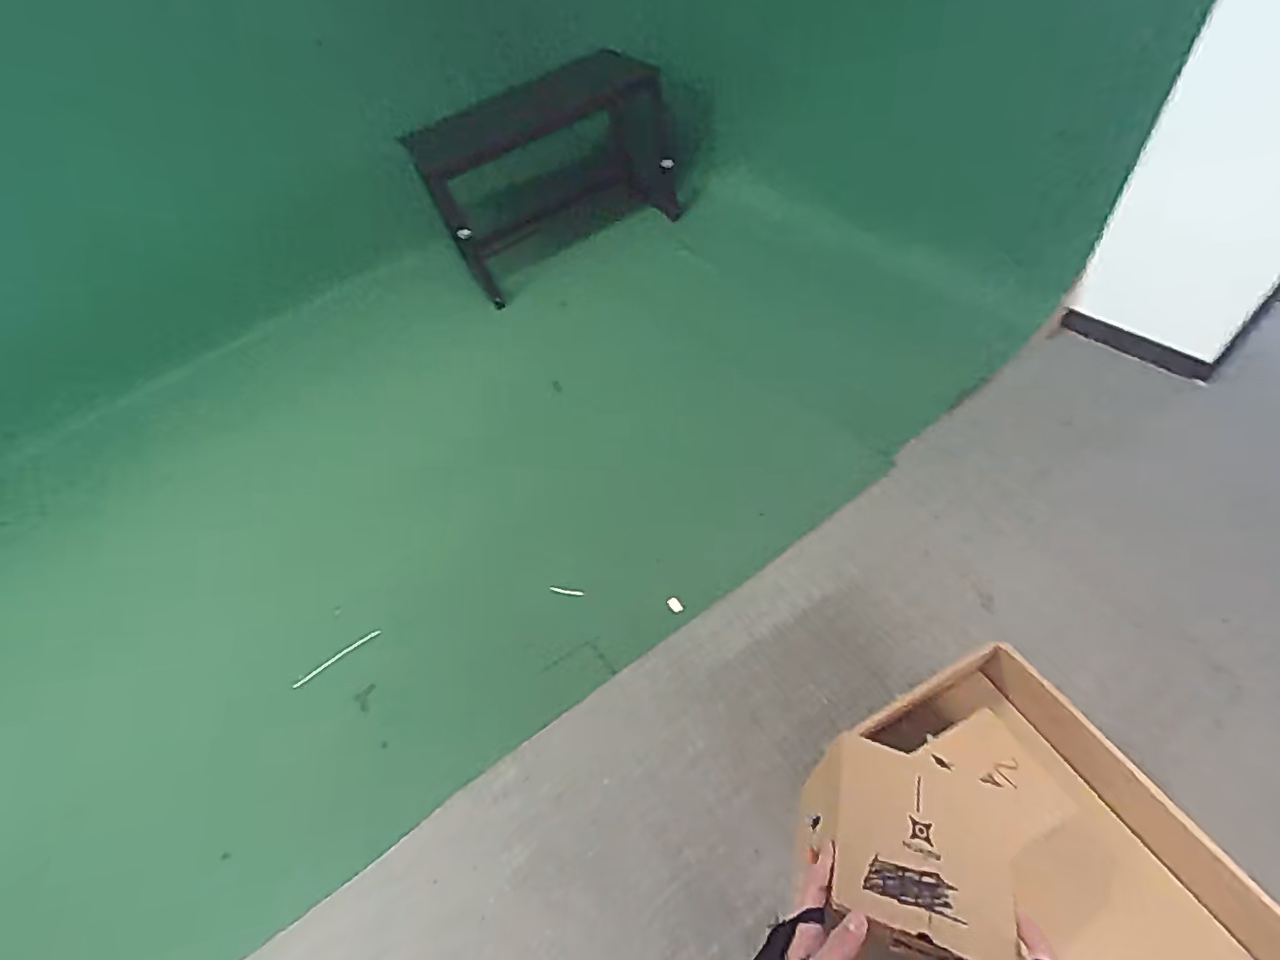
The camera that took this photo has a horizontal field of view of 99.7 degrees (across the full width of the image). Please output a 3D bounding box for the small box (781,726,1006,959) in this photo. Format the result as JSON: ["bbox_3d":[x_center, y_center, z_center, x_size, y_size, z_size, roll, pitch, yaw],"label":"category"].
[{"bbox_3d":[0.262,0.416,0.594,0.168,0.176,0.179,17,41,11],"label":"small box"}]
